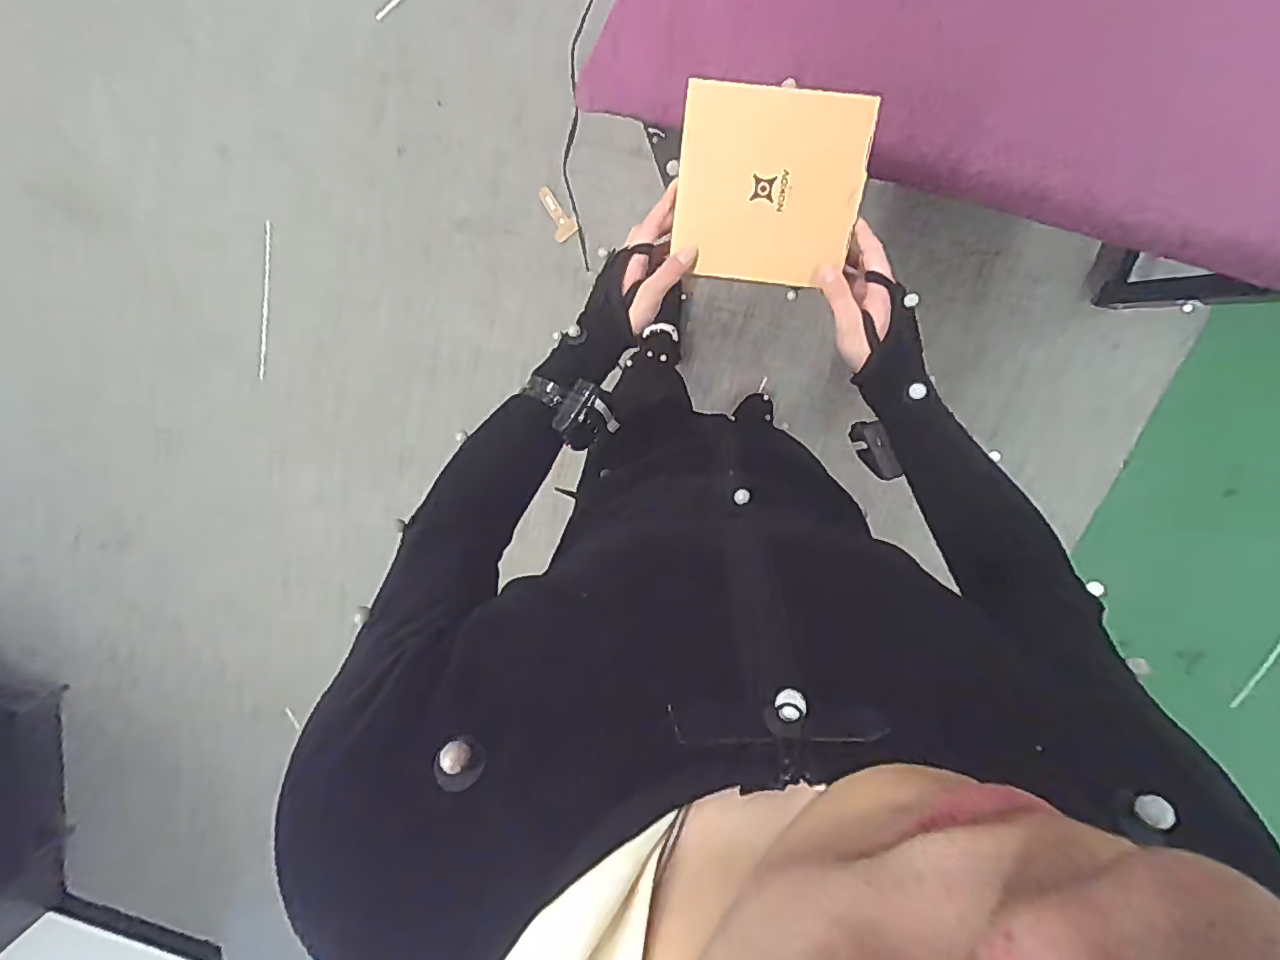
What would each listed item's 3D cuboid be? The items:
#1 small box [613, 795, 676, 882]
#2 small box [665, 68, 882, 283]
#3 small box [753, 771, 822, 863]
[{"bbox_3d":[0.021,1.257,1.908,0.179,0.176,0.168,17,108,2],"label":"small box"},{"bbox_3d":[0.125,-0.307,0.580,0.179,0.176,0.168,7,110,1],"label":"small box"},{"bbox_3d":[0.484,1.118,1.808,0.168,0.176,0.179,19,108,2],"label":"small box"}]
